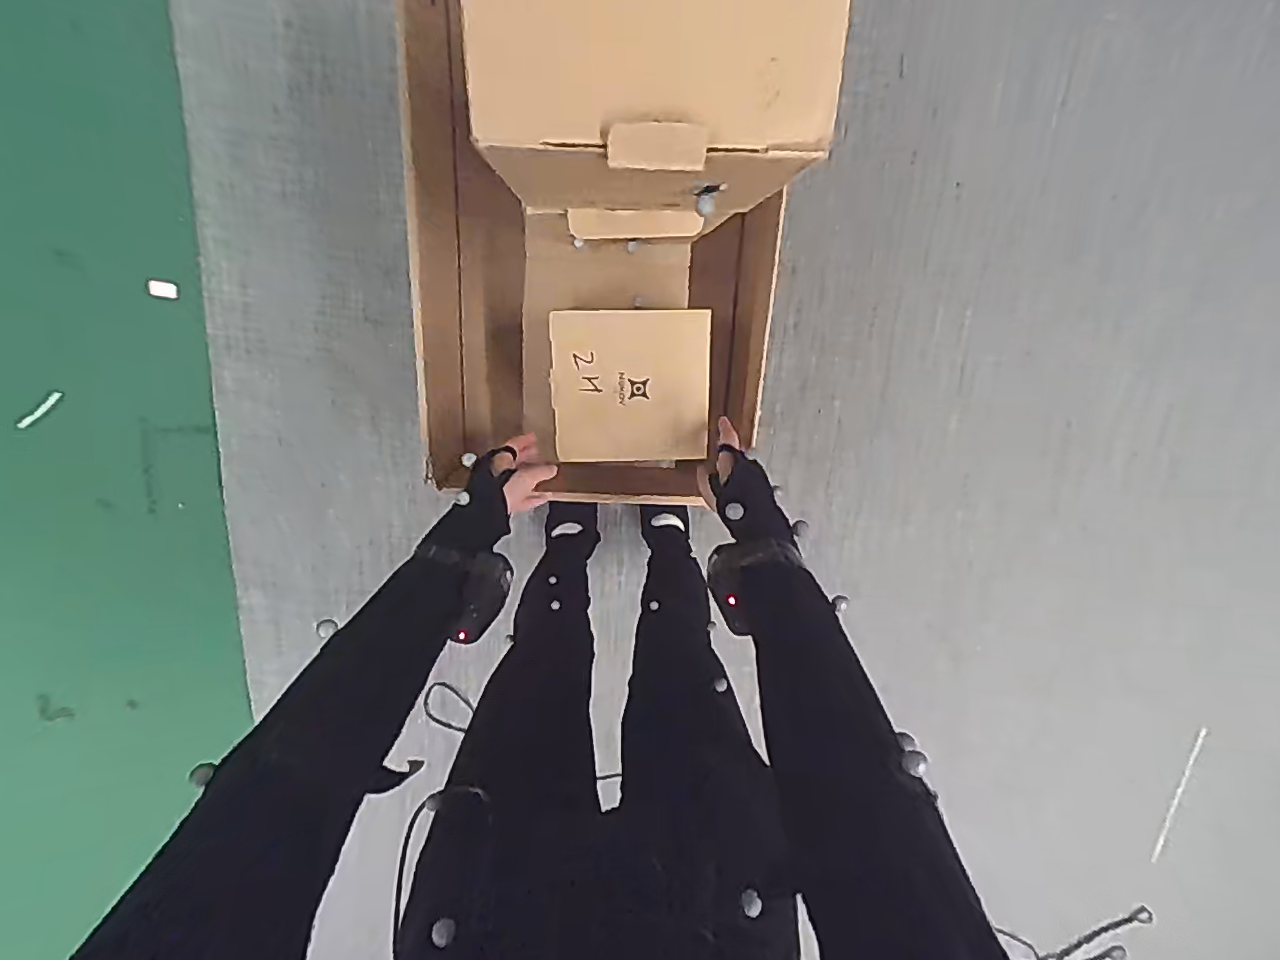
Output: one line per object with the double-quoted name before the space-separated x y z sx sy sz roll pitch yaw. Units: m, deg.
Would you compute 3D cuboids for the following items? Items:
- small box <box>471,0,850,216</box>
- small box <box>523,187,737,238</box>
"small box" 0.007 -0.253 0.299 0.168 0.176 0.179 0 108 -4
"small box" -0.008 -0.304 0.454 0.168 0.176 0.179 -2 108 -2
